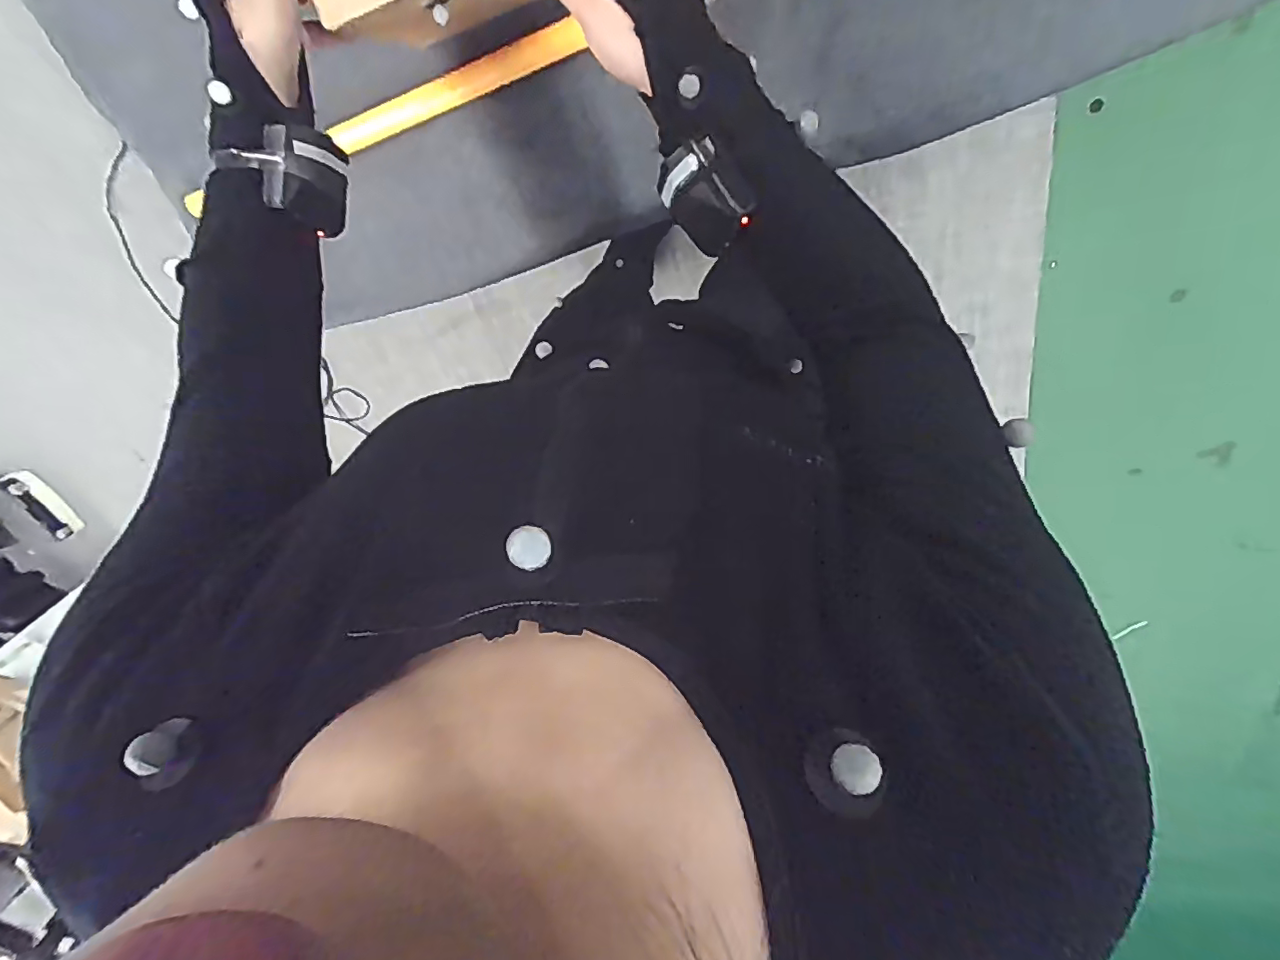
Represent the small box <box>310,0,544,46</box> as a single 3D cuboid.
[{"bbox_3d":[-0.158,-0.447,0.394,0.179,0.176,0.168,-10,124,14],"label":"small box"}]
